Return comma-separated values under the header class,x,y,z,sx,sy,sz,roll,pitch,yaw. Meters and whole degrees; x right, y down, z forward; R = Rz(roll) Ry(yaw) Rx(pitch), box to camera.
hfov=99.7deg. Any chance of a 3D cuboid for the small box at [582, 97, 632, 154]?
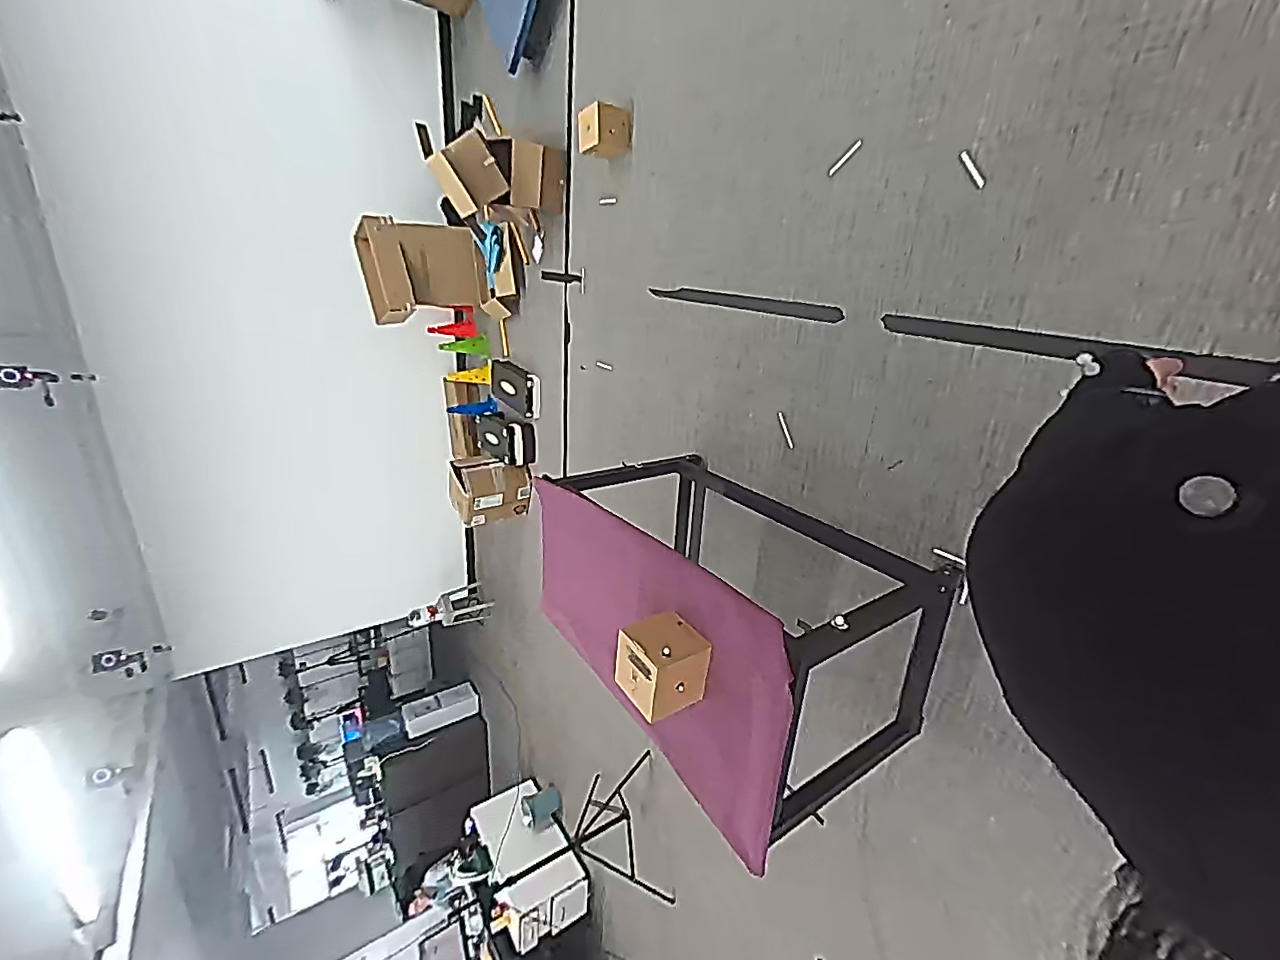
class,x,y,z,sx,sy,sz,roll,pitch,yaw
small box,-0.146,-1.603,2.454,0.179,0.176,0.168,21,116,53
